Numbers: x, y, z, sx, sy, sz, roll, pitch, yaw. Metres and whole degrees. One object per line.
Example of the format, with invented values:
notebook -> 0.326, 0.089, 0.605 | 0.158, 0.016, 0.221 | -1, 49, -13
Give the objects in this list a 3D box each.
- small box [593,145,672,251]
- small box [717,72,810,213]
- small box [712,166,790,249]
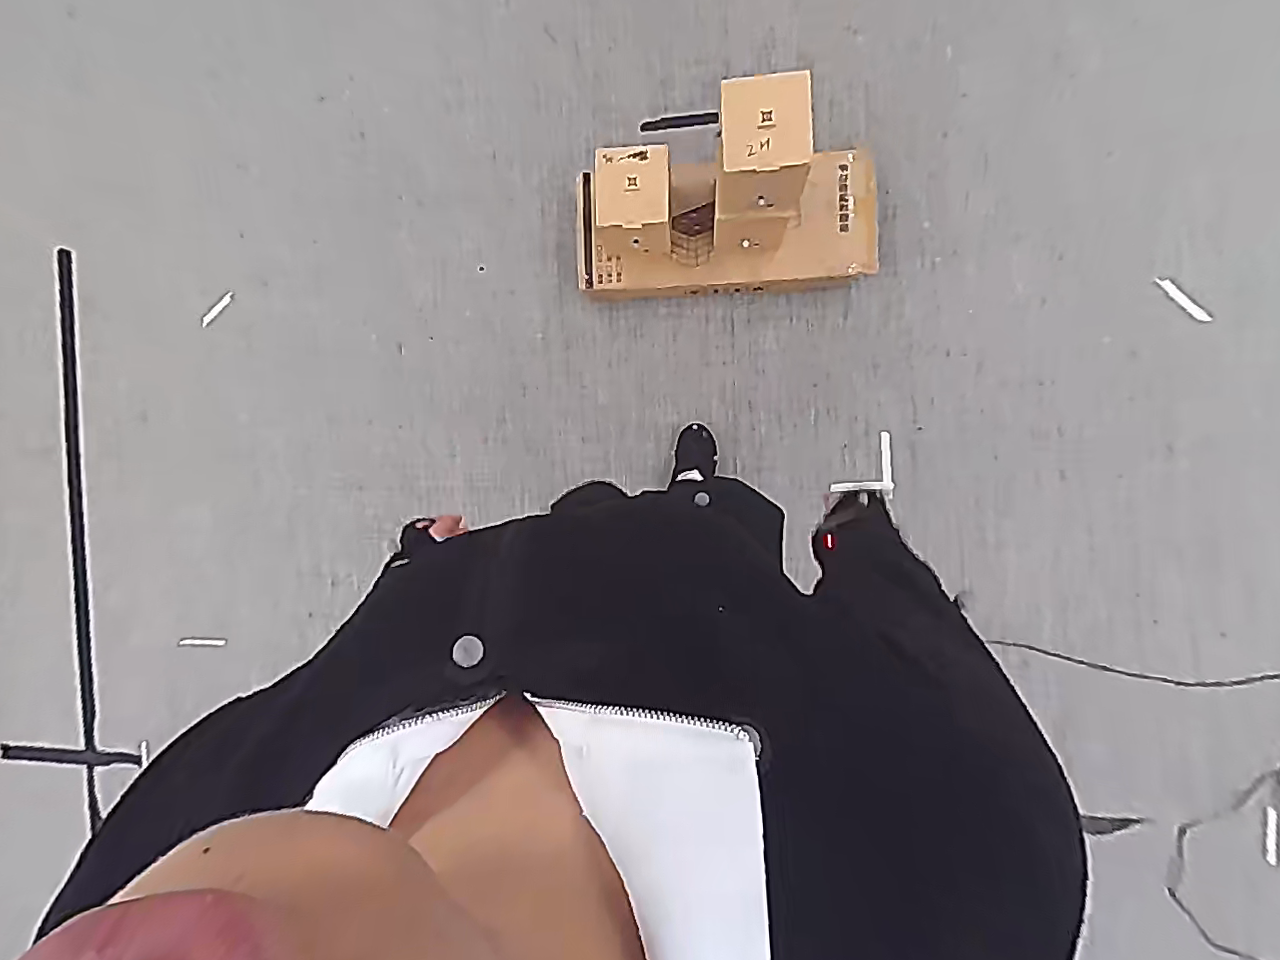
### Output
small box -> -0.013, -0.654, 1.279 | 0.168, 0.176, 0.179 | 0, 93, 8
small box -> 0.241, -0.667, 1.086 | 0.168, 0.176, 0.179 | -2, 91, 7
small box -> 0.255, -0.657, 1.251 | 0.168, 0.176, 0.179 | 3, 93, 7
